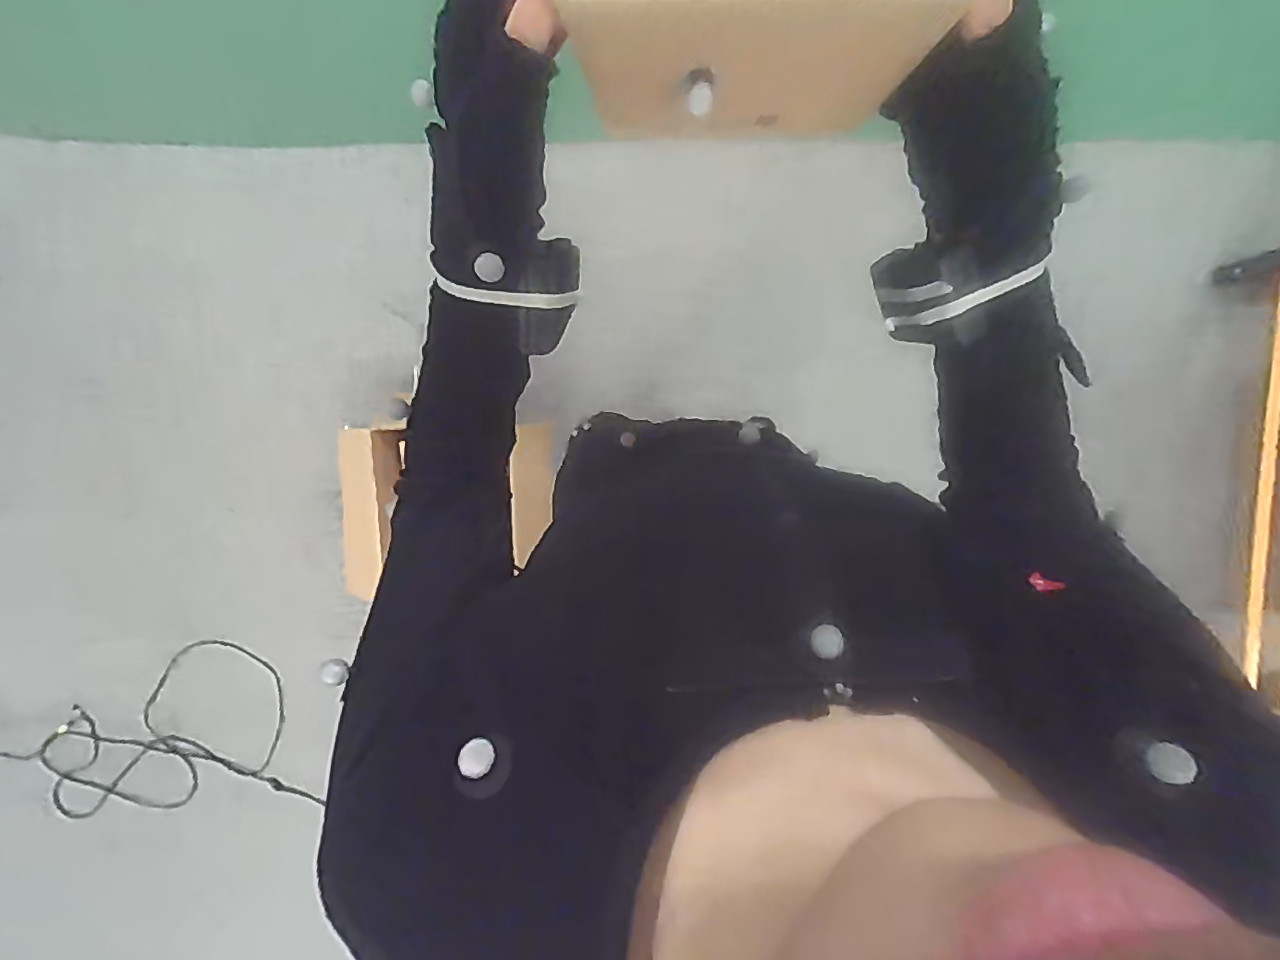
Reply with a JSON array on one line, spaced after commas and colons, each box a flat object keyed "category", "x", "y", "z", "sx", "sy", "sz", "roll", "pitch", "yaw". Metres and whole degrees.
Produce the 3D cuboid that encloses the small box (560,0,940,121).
[{"category": "small box", "x": 0.057, "y": -0.292, "z": 0.254, "sx": 0.168, "sy": 0.176, "sz": 0.179, "roll": 3, "pitch": 106, "yaw": 4}]
